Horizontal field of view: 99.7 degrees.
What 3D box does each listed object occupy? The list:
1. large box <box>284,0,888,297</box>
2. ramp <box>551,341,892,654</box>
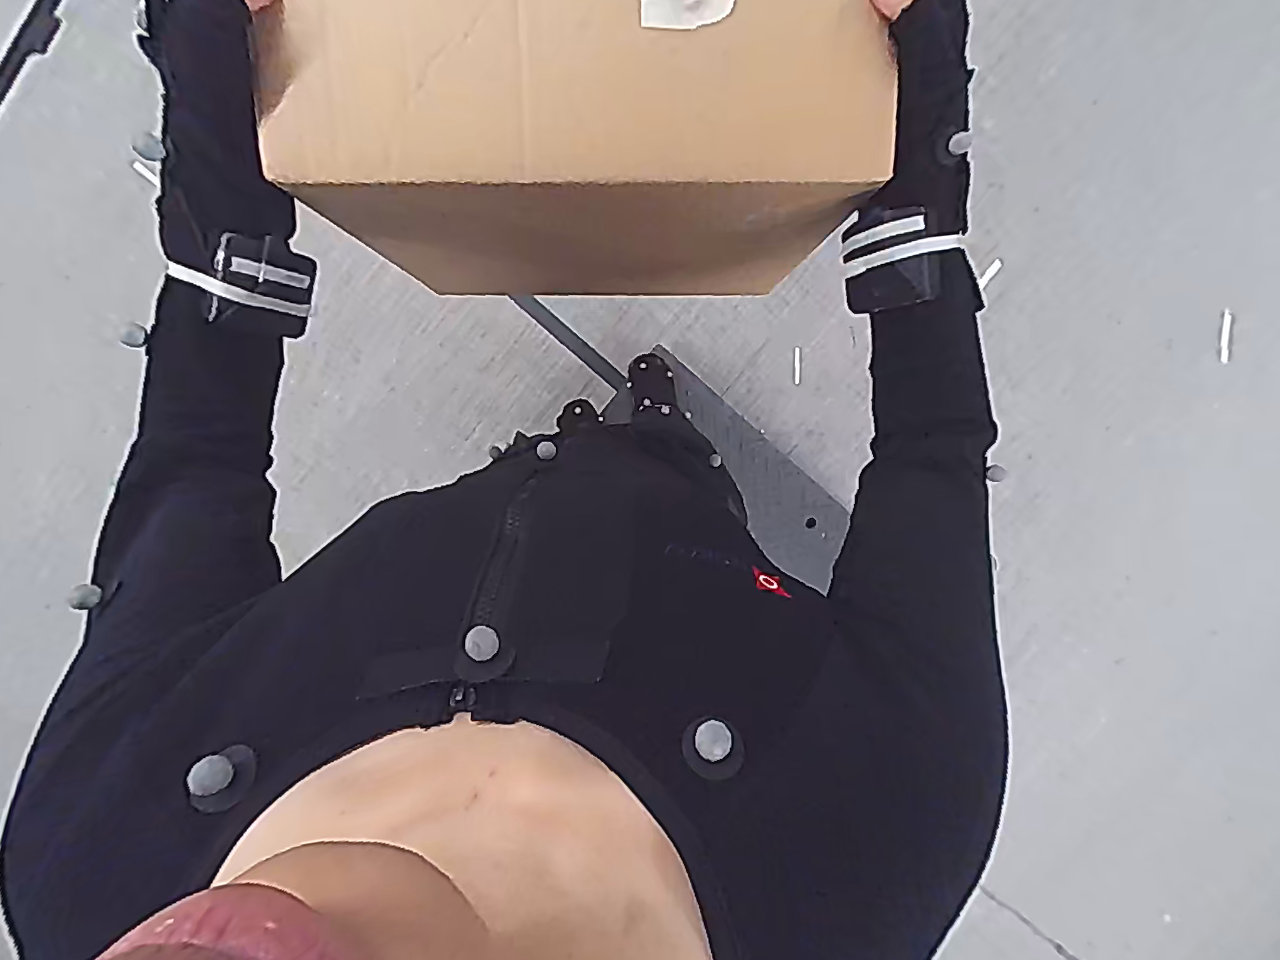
[{"bbox_3d":[-0.038,-0.367,0.500,0.408,0.320,0.320,-1,96,-1],"label":"large box"},{"bbox_3d":[0.280,0.097,1.603,0.991,0.206,0.509,37,96,-7],"label":"ramp"}]
